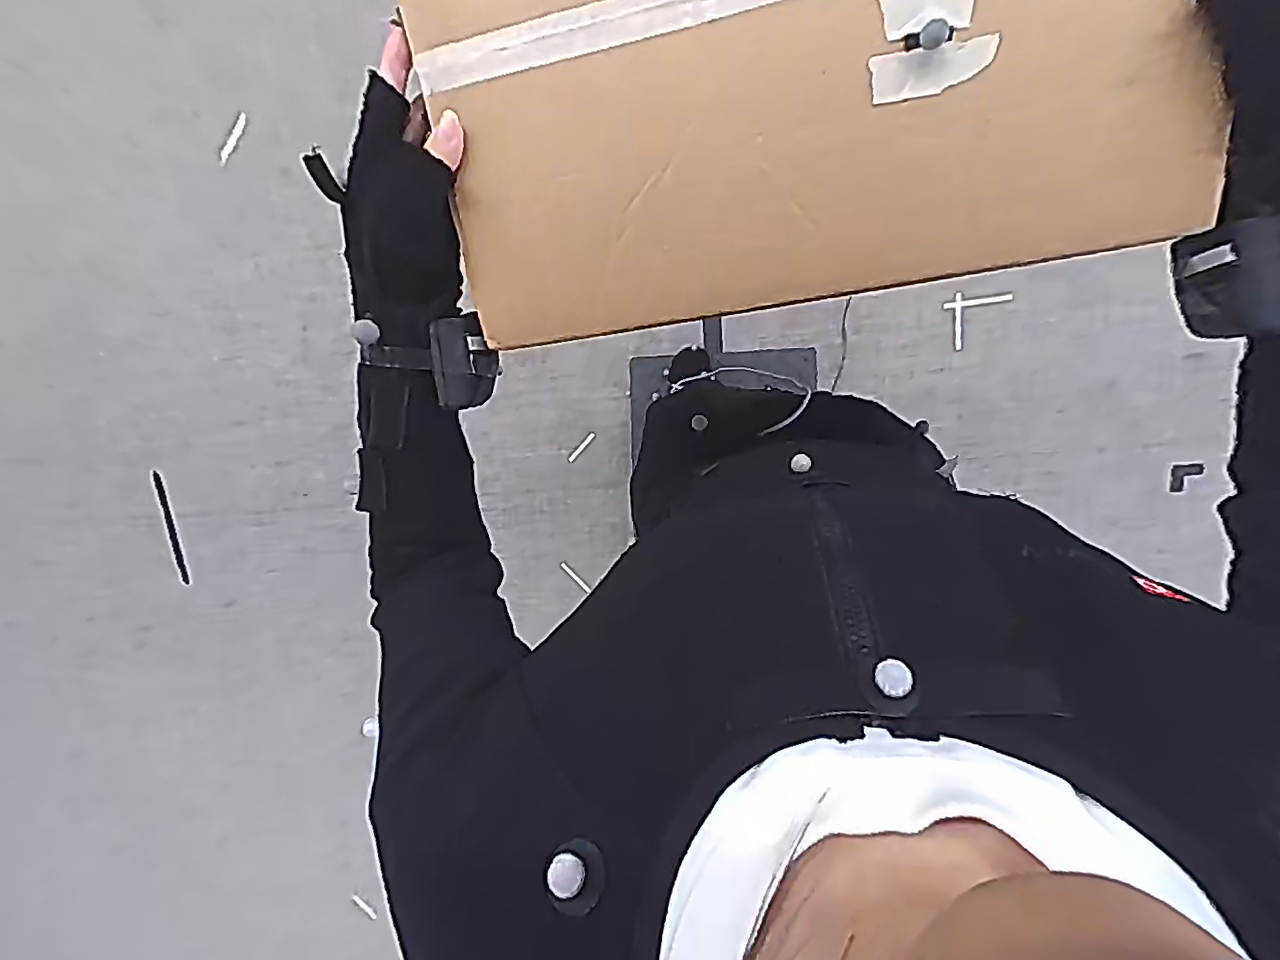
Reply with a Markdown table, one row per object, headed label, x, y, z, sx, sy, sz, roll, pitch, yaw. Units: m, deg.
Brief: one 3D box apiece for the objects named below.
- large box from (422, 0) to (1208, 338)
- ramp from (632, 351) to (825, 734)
| label | x | y | z | sx | sy | sz | roll | pitch | yaw |
| --- | --- | --- | --- | --- | --- | --- | --- | --- | --- |
| large box | 0.093 | -0.310 | 0.425 | 0.408 | 0.320 | 0.320 | -7 | 108 | 10 |
| ramp | 0.228 | 0.168 | 1.445 | 0.509 | 0.206 | 0.991 | -3 | 100 | 10 |
